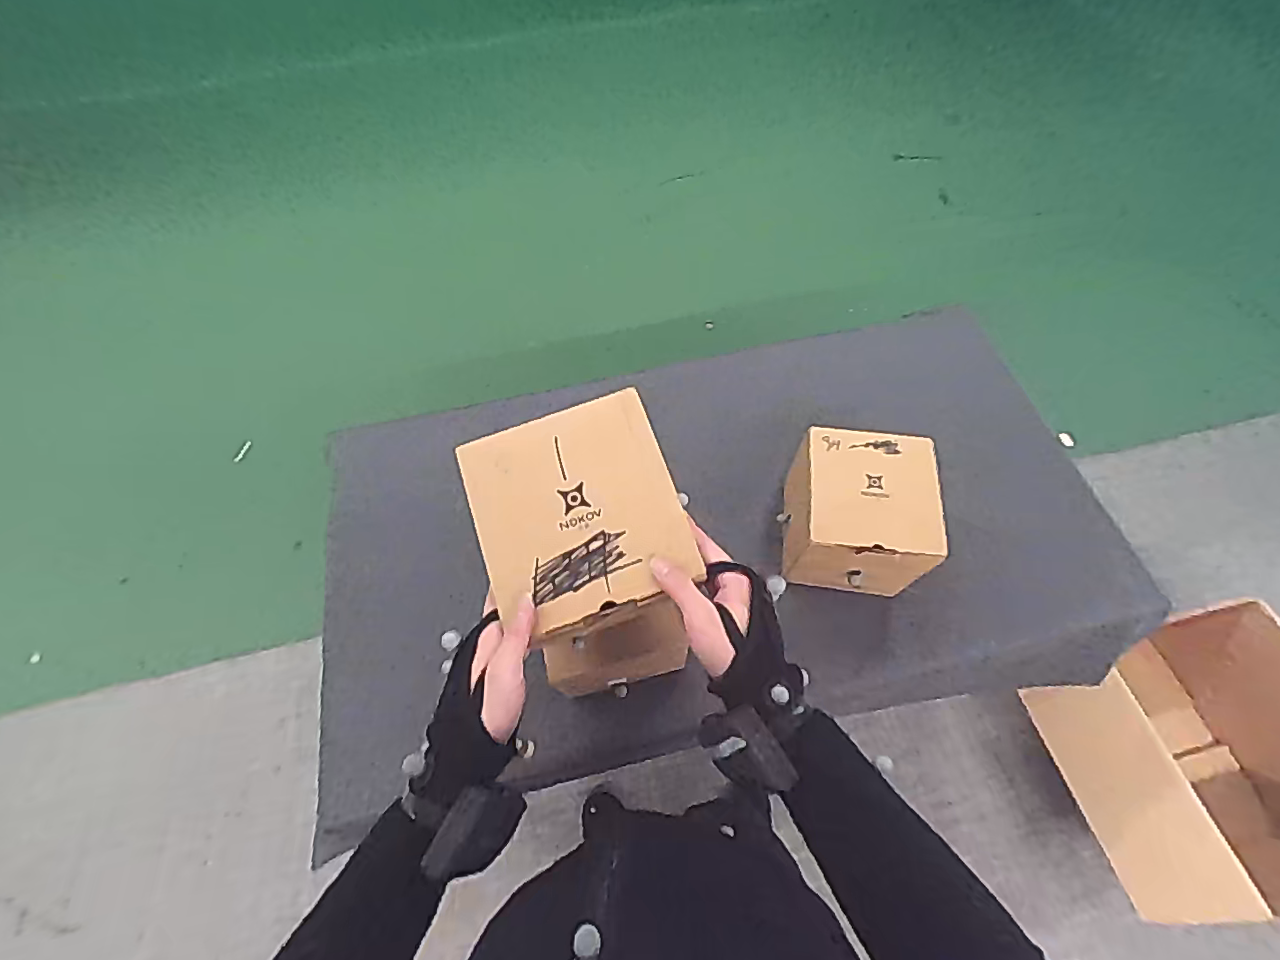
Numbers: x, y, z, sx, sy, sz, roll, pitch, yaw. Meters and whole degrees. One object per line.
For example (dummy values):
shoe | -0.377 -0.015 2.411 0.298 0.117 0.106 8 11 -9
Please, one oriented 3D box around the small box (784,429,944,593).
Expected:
small box | 0.307 0.051 0.774 0.168 0.176 0.179 7 63 5

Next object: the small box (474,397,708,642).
small box | -0.041 0.050 0.534 0.168 0.176 0.179 -18 72 -3

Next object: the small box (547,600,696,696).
small box | -0.035 0.164 0.705 0.168 0.176 0.179 -15 63 -6
